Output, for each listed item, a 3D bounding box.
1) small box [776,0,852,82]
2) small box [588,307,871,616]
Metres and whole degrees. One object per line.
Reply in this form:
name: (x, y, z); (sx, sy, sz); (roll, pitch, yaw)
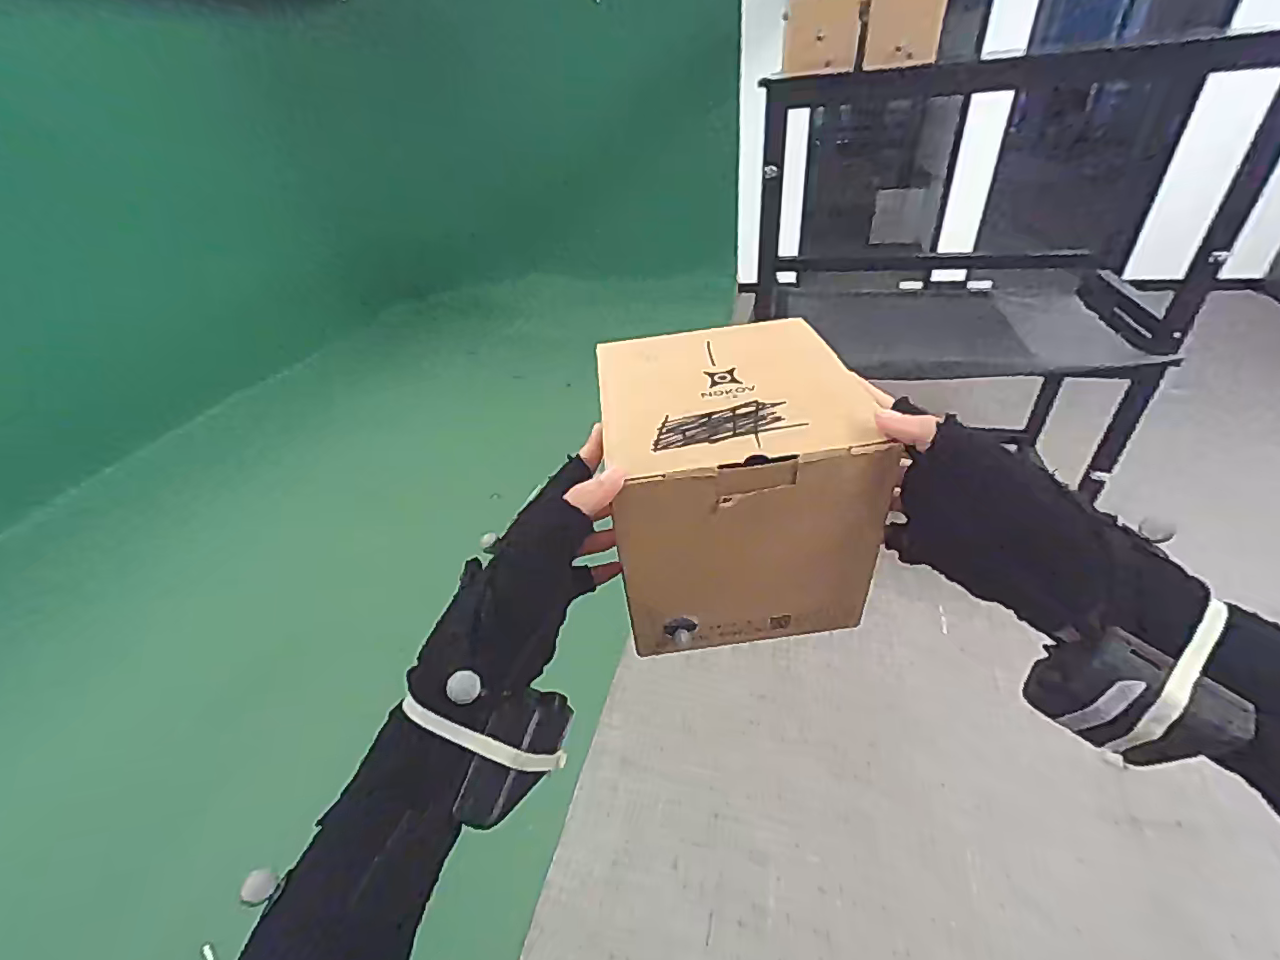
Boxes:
small box: (0.455, -1.165, 1.429); (0.168, 0.176, 0.179); (1, 37, 8)
small box: (0.055, -0.012, 0.418); (0.168, 0.176, 0.179); (-8, 38, 0)
